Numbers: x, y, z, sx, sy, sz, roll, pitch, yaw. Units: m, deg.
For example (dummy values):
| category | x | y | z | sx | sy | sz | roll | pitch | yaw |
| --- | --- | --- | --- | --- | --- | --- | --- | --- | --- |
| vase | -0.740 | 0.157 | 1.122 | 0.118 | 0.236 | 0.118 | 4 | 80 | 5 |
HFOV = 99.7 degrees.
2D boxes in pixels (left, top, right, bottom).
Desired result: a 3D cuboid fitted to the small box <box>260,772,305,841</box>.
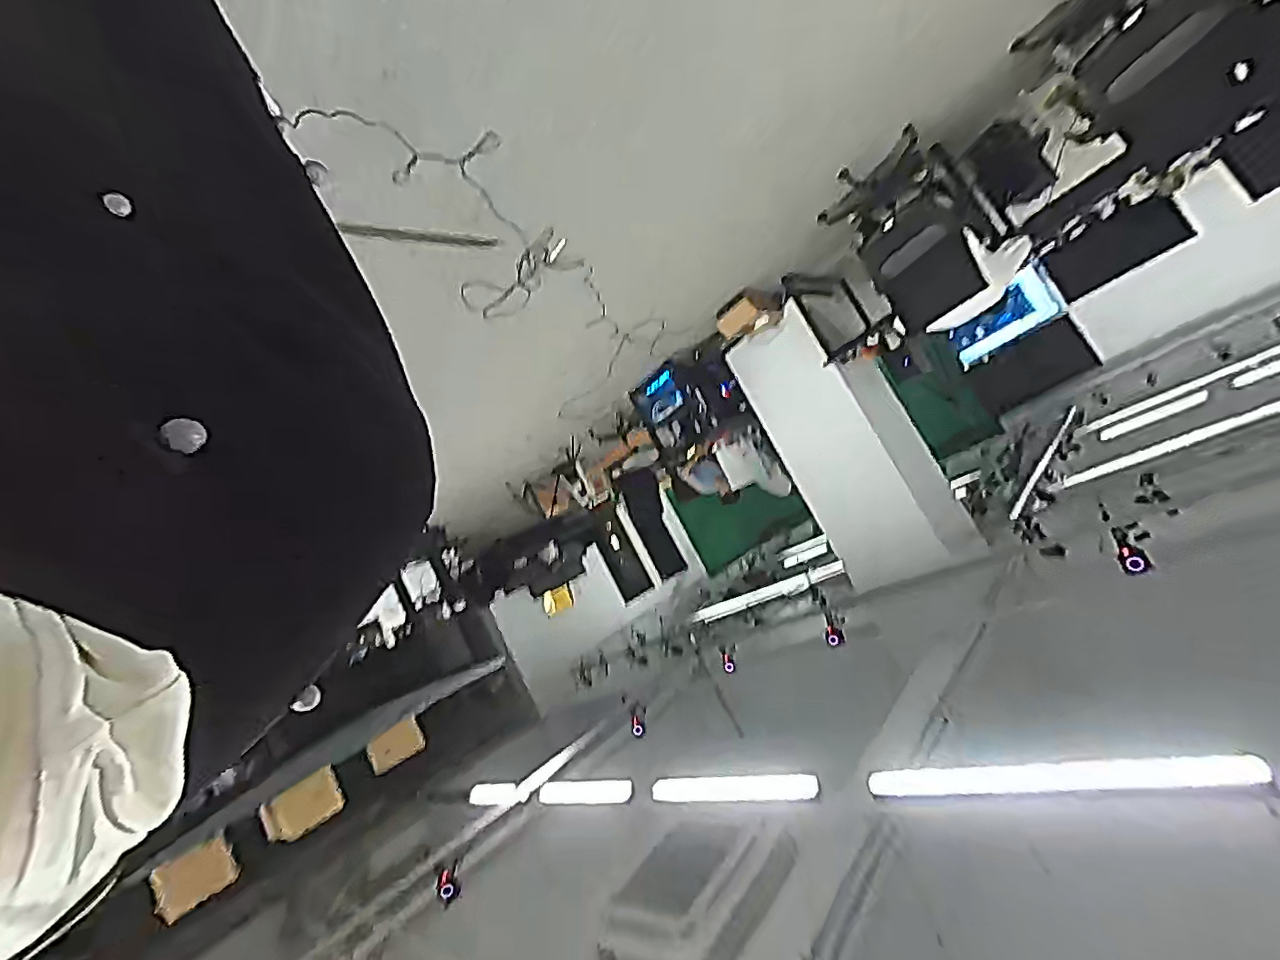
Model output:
| category | x | y | z | sx | sy | sz | roll | pitch | yaw |
| --- | --- | --- | --- | --- | --- | --- | --- | --- | --- |
| small box | -1.306 | 1.221 | 2.039 | 0.168 | 0.176 | 0.179 | -21 | 170 | -45 |

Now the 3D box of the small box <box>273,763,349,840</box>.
| category | x | y | z | sx | sy | sz | roll | pitch | yaw |
| --- | --- | --- | --- | --- | --- | --- | --- | --- | --- |
| small box | -1.145 | 1.110 | 1.876 | 0.168 | 0.176 | 0.179 | -21 | 172 | -46 |

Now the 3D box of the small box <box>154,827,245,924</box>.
| category | x | y | z | sx | sy | sz | roll | pitch | yaw |
| --- | --- | --- | --- | --- | --- | --- | --- | --- | --- |
| small box | -1.331 | 1.181 | 1.630 | 0.179 | 0.176 | 0.168 | -30 | 174 | 41 |
